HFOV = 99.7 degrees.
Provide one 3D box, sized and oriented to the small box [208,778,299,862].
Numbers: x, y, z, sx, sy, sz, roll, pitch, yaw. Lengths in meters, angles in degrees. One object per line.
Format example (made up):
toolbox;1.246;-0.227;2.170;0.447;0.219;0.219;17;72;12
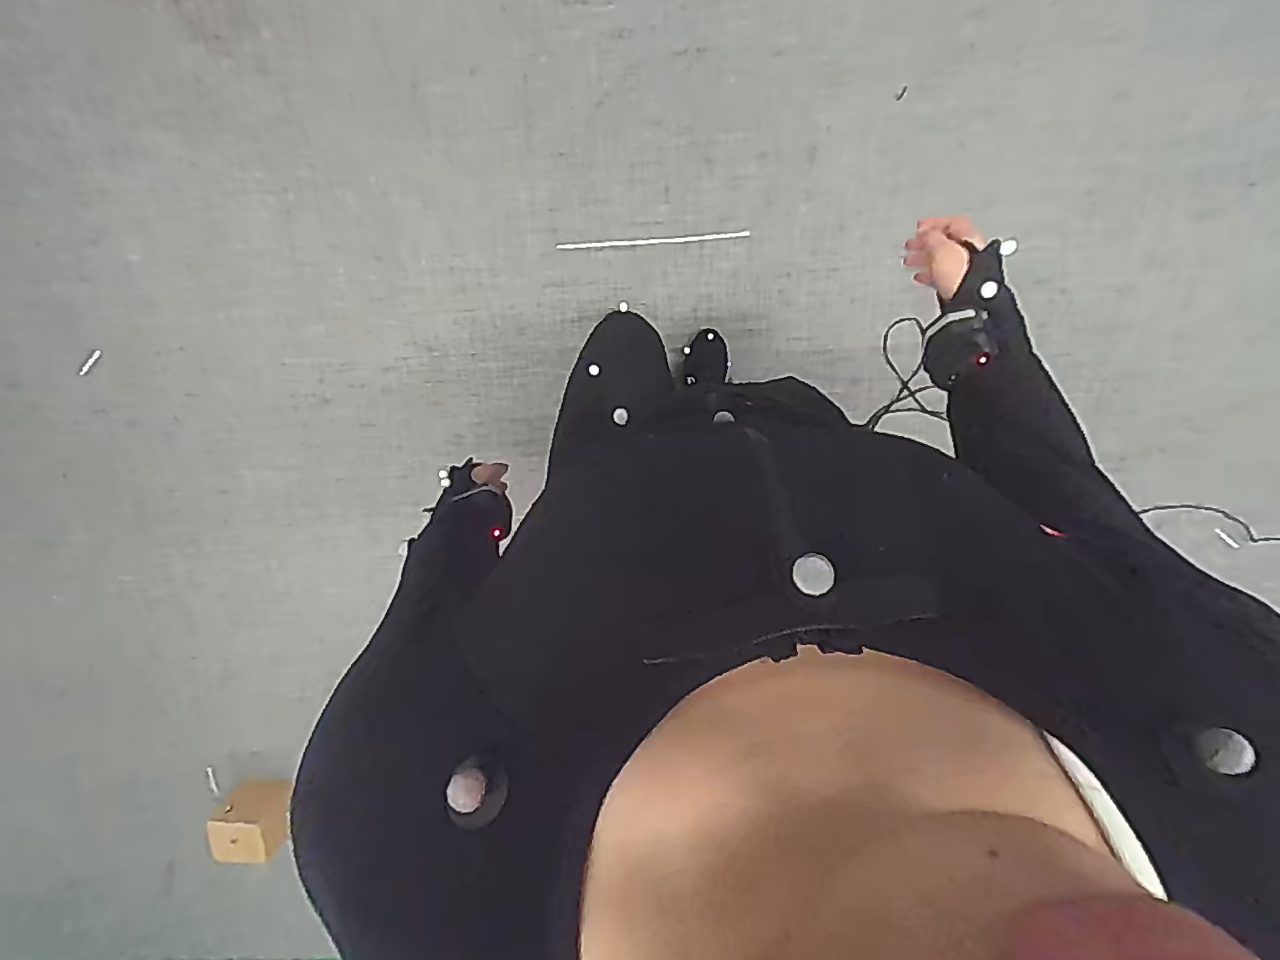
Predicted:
small box;-1.279;1.125;1.799;0.179;0.176;0.168;3;106;1
